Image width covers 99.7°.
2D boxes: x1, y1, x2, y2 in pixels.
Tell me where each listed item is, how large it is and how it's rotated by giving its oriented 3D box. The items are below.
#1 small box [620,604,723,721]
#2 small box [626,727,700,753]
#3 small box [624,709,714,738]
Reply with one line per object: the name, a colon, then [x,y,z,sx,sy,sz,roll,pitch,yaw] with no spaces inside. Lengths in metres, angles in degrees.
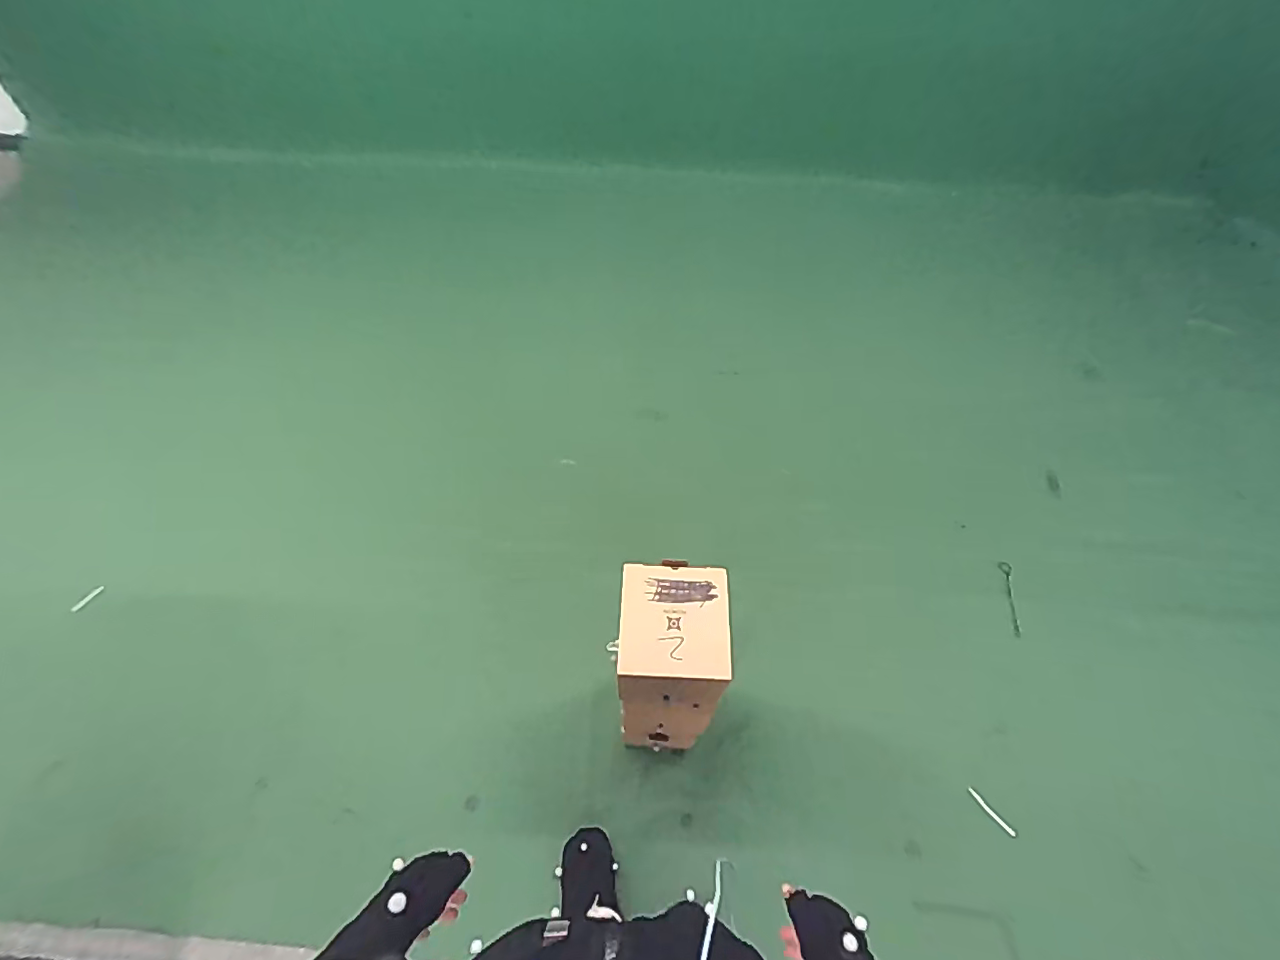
small box: [0.059,0.345,1.014,0.179,0.176,0.168,3,55,2]
small box: [0.056,0.533,1.281,0.168,0.176,0.179,3,56,3]
small box: [0.063,0.437,1.145,0.179,0.176,0.168,6,54,4]
